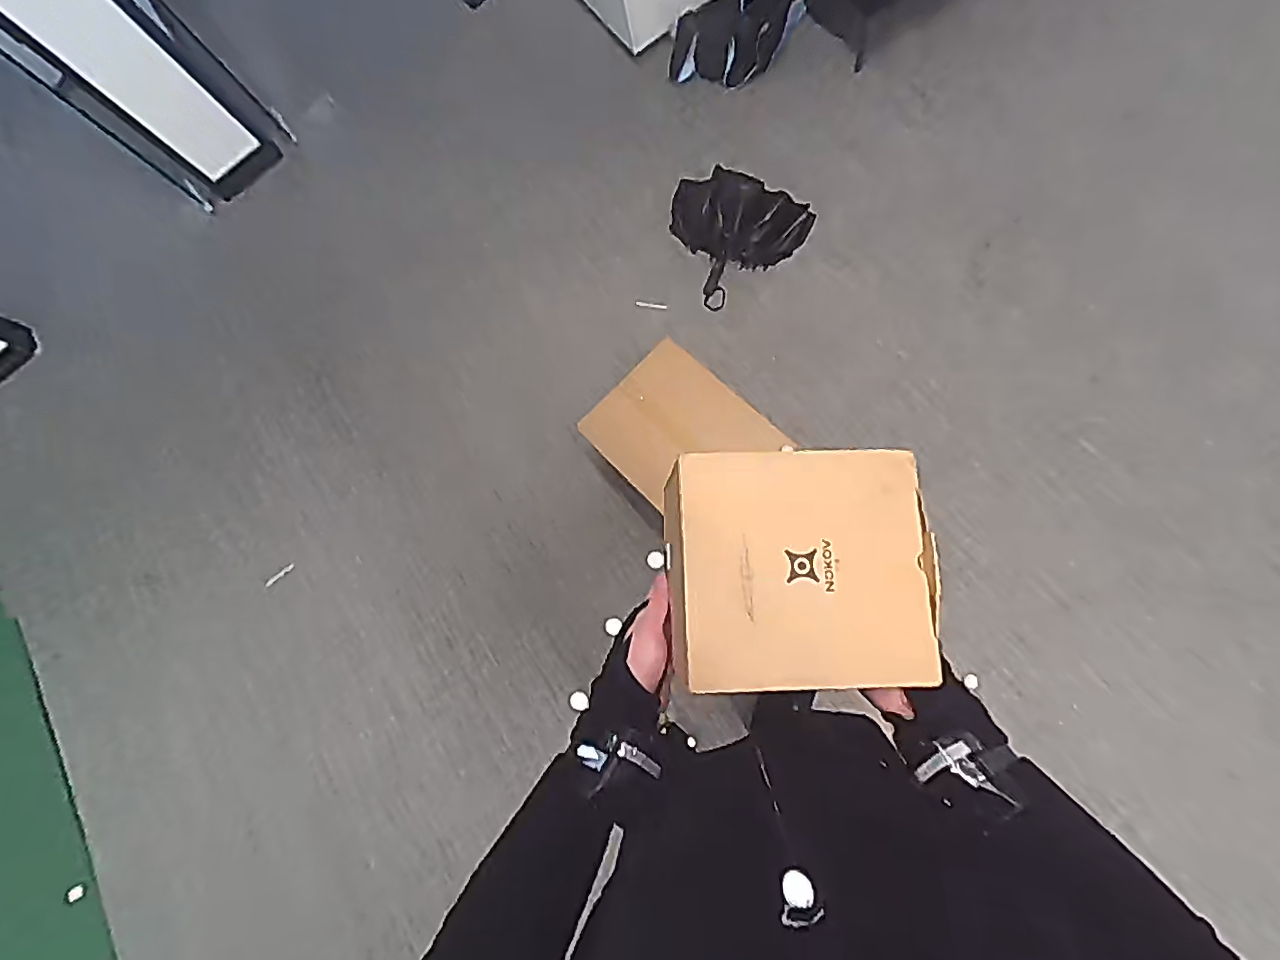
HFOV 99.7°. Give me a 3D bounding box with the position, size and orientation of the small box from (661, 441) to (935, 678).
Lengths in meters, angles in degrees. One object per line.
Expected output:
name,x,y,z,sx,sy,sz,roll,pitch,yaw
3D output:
small box,0.112,0.065,0.457,0.179,0.176,0.168,-1,80,-1
